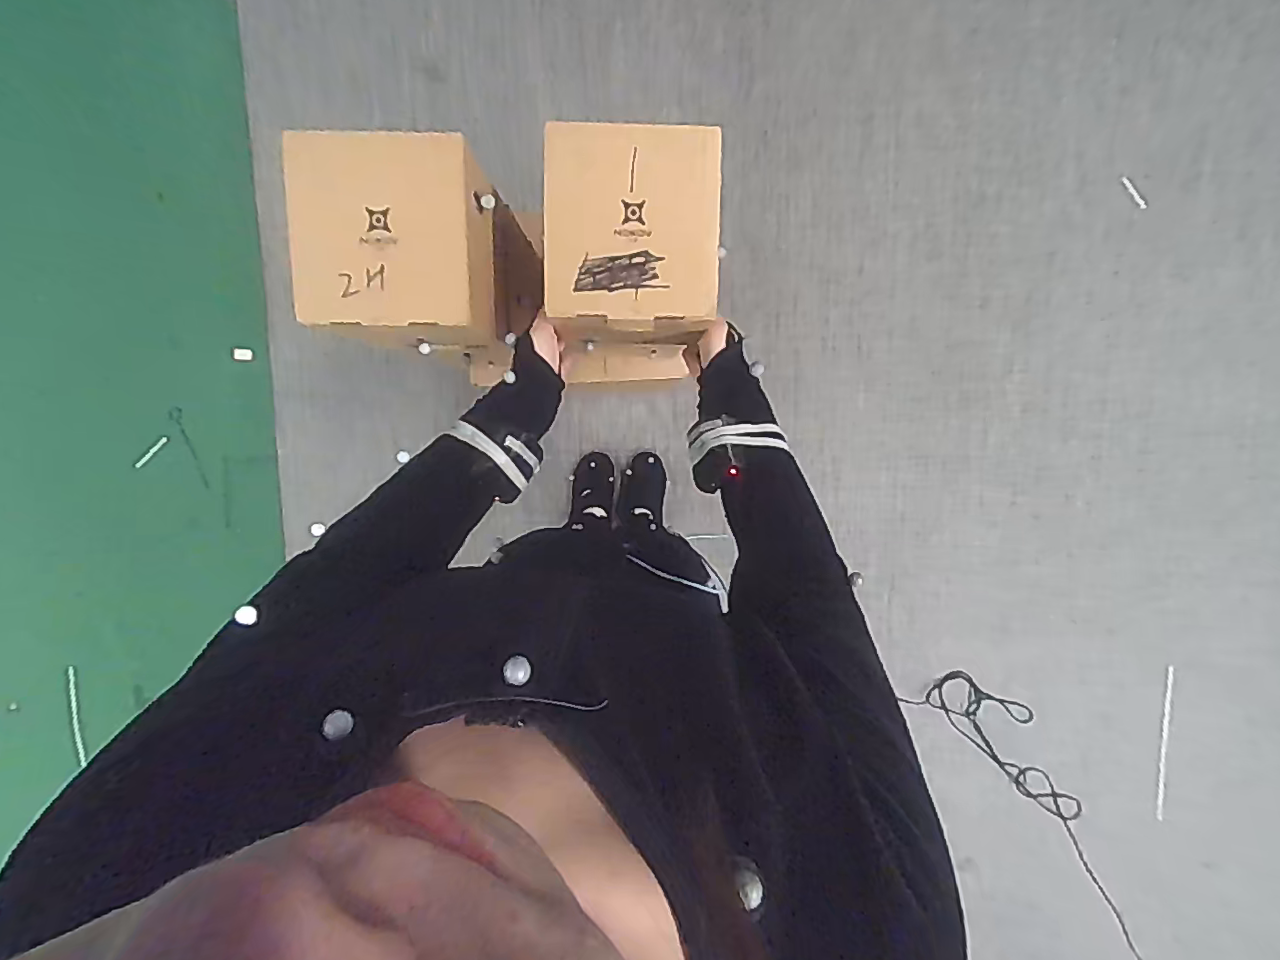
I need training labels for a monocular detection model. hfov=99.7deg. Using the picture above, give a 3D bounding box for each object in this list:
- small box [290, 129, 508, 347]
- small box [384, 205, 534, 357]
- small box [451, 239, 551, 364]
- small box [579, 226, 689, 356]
[{"bbox_3d":[-0.244,-0.246,0.588,0.168,0.176,0.179,1,98,-1],"label":"small box"},{"bbox_3d":[-0.243,-0.265,0.752,0.168,0.176,0.179,1,99,-1],"label":"small box"},{"bbox_3d":[-0.245,-0.292,0.914,0.168,0.176,0.179,-1,98,-1],"label":"small box"},{"bbox_3d":[-0.008,-0.307,0.911,0.168,0.176,0.179,2,96,0],"label":"small box"}]
